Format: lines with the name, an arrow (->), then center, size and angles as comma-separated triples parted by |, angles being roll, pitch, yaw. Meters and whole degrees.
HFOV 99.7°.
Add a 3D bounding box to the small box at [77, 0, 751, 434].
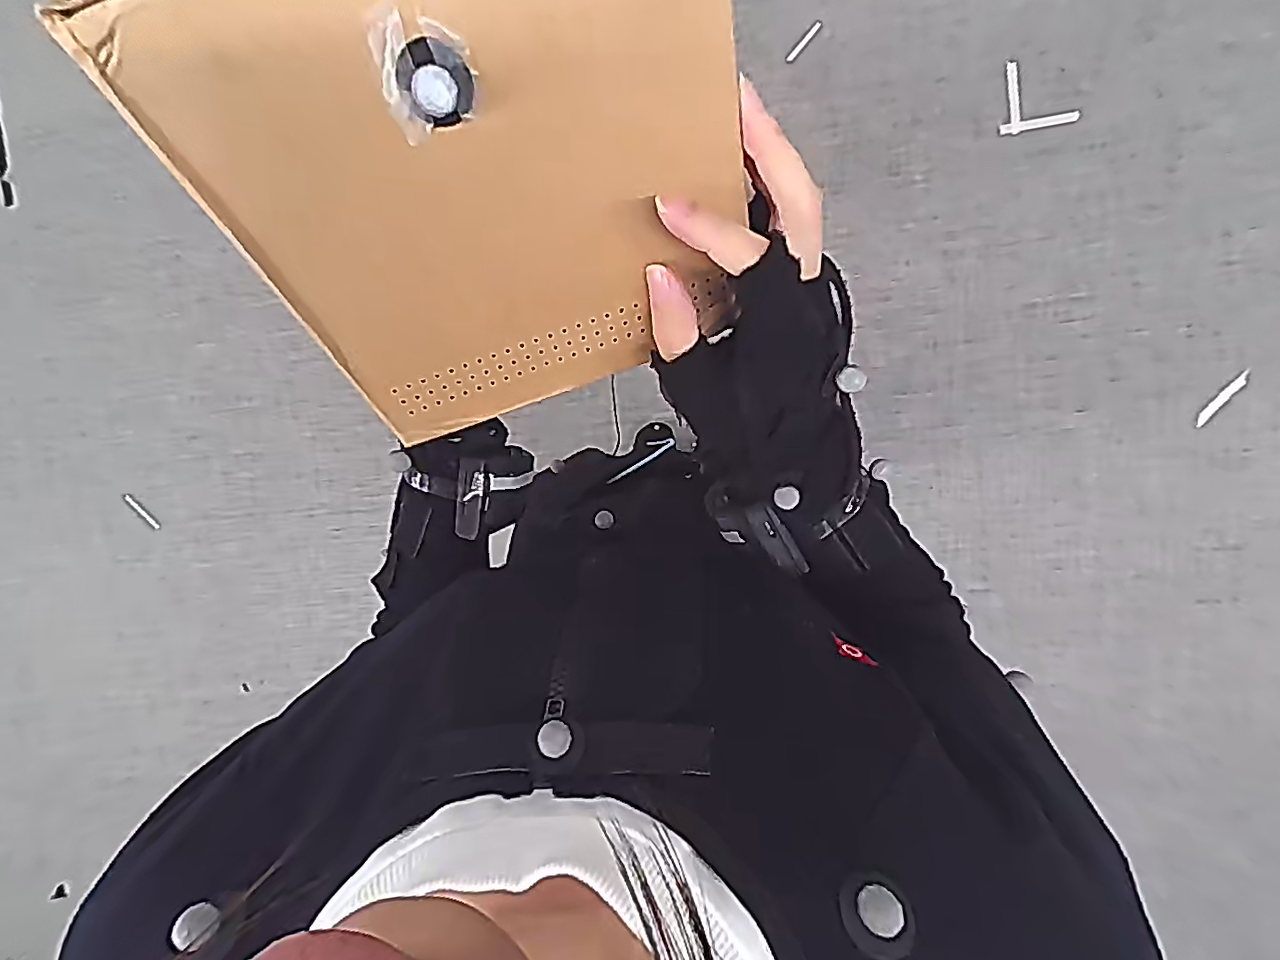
small box -> -0.062, -0.147, 0.247 | 0.179, 0.176, 0.168 | -19, 51, 1
